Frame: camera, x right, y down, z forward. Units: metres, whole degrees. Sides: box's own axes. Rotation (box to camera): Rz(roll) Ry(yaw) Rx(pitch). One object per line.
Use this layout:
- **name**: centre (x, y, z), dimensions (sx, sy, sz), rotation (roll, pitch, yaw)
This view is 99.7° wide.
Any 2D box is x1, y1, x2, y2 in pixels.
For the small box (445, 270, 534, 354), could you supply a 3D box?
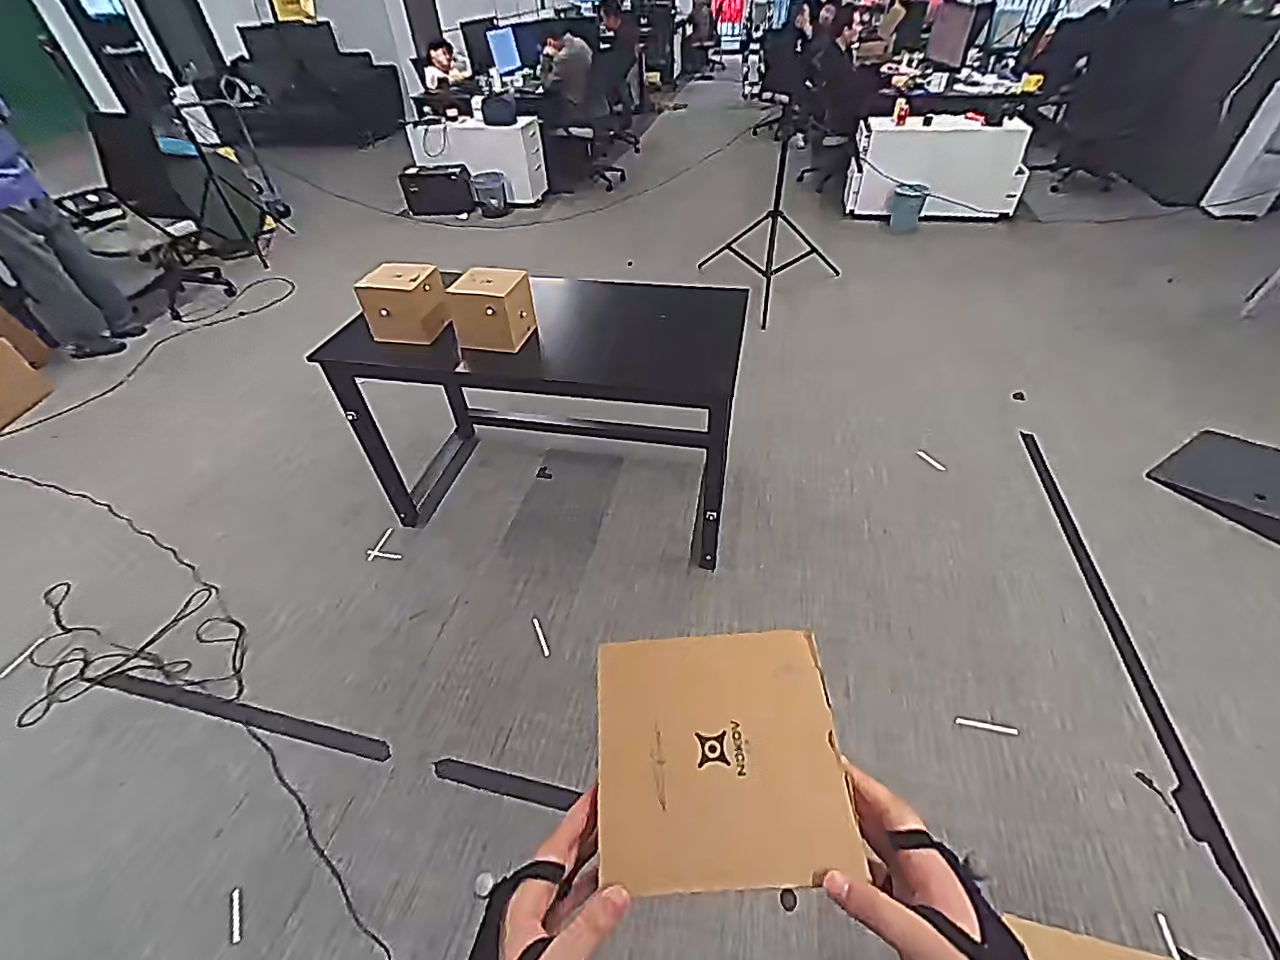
- **small box**: centre (-0.415, -0.473, 1.529), dimensions (0.179, 0.176, 0.168), rotation (8, 44, 11)

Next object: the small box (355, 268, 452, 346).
- **small box**: centre (-0.682, -0.504, 1.578), dimensions (0.179, 0.176, 0.168), rotation (5, 44, 9)
